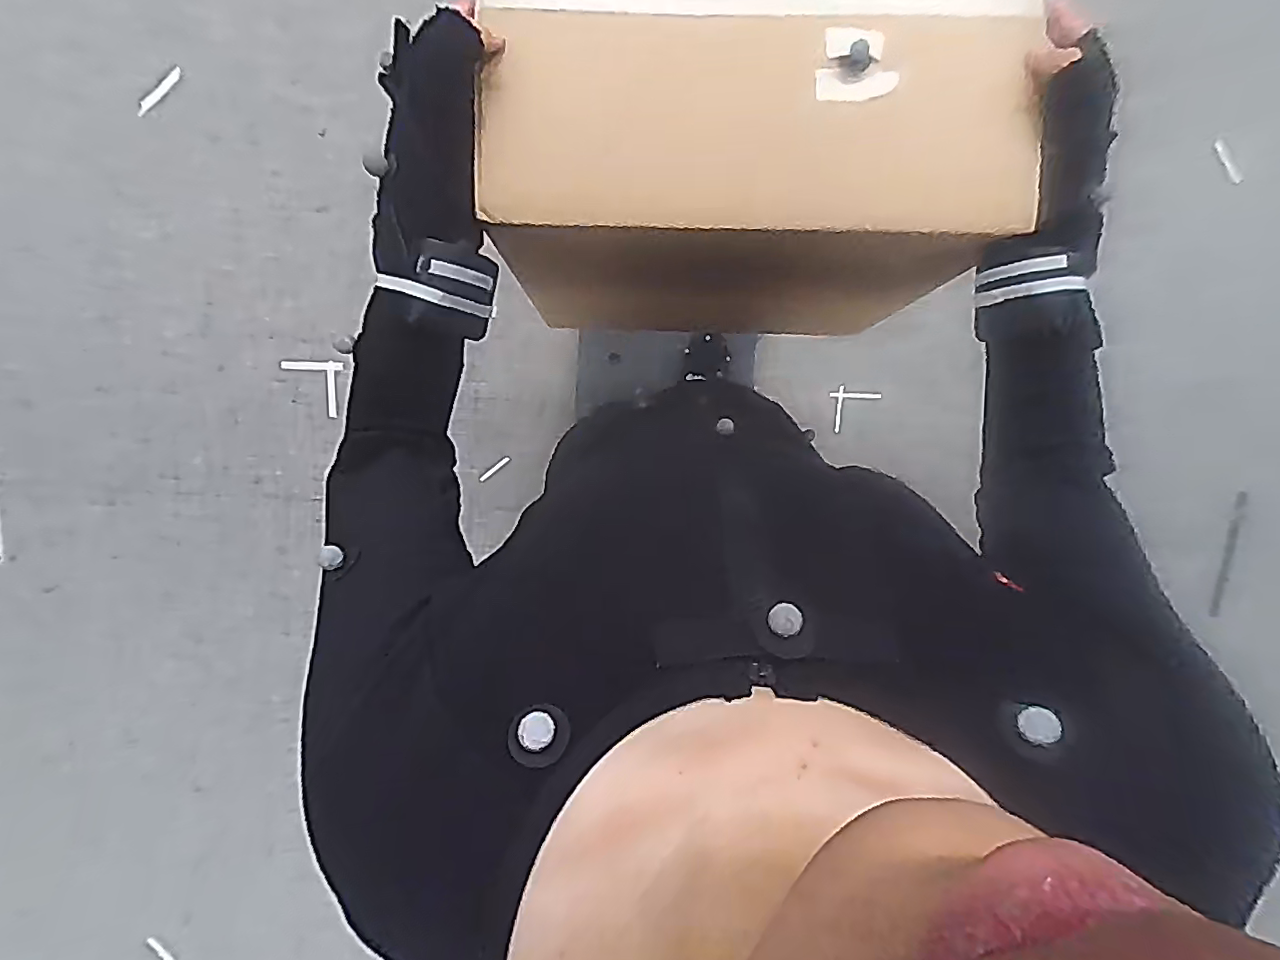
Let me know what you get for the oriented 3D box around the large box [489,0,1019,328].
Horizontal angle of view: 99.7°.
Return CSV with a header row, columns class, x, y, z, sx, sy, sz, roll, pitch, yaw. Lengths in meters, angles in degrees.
class,x,y,z,sx,sy,sz,roll,pitch,yaw
large box,0.082,-0.349,0.552,0.408,0.320,0.320,1,92,-1
